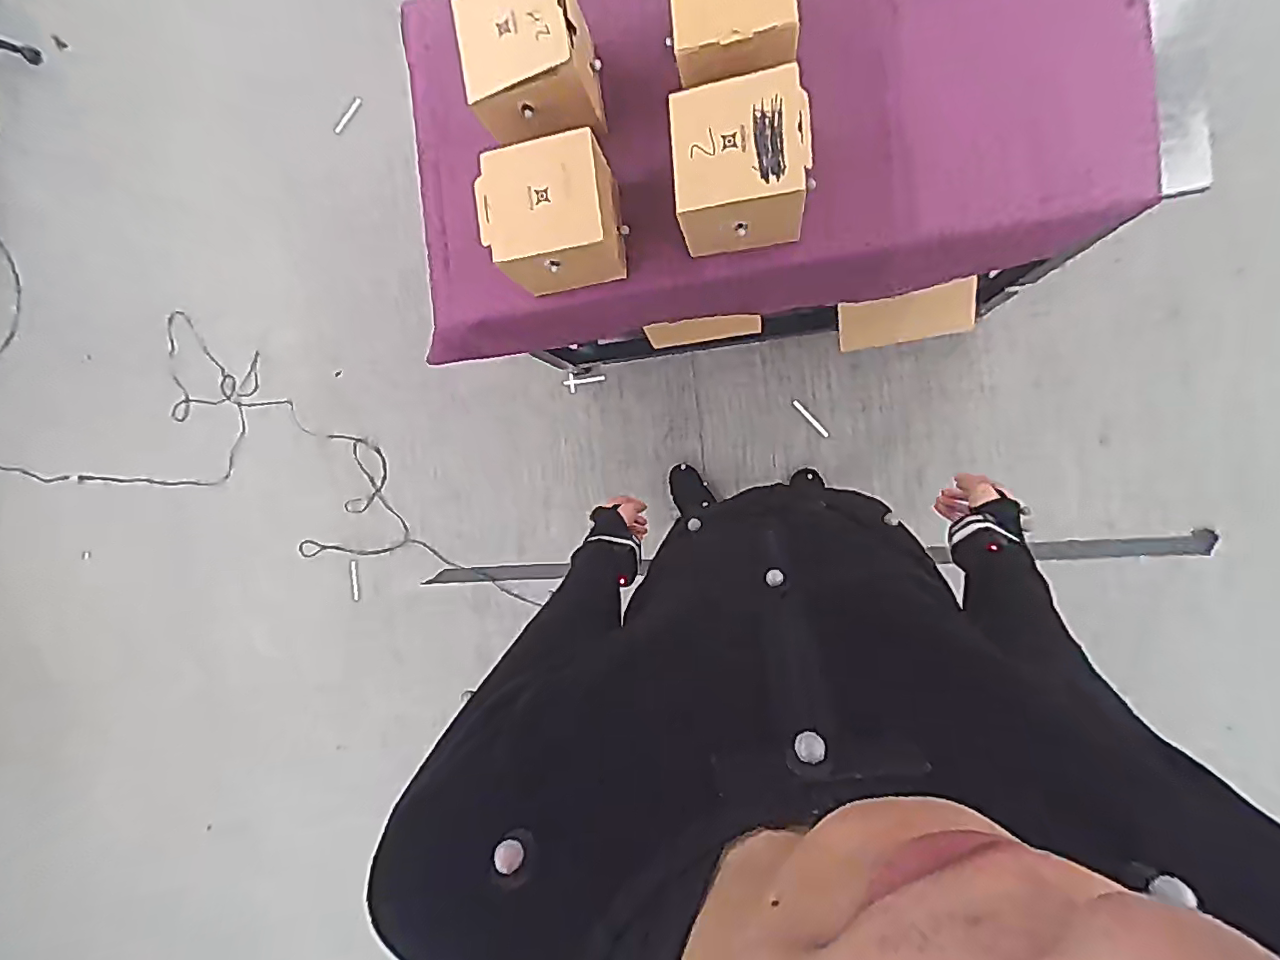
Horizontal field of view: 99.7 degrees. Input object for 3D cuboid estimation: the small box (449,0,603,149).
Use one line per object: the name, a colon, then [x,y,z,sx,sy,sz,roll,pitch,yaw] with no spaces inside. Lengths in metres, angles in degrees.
small box: [-0.173,-0.649,0.862,0.179,0.176,0.168,-8,91,12]

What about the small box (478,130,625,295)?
small box: [-0.133,-0.411,0.864,0.179,0.176,0.168,-6,91,11]
